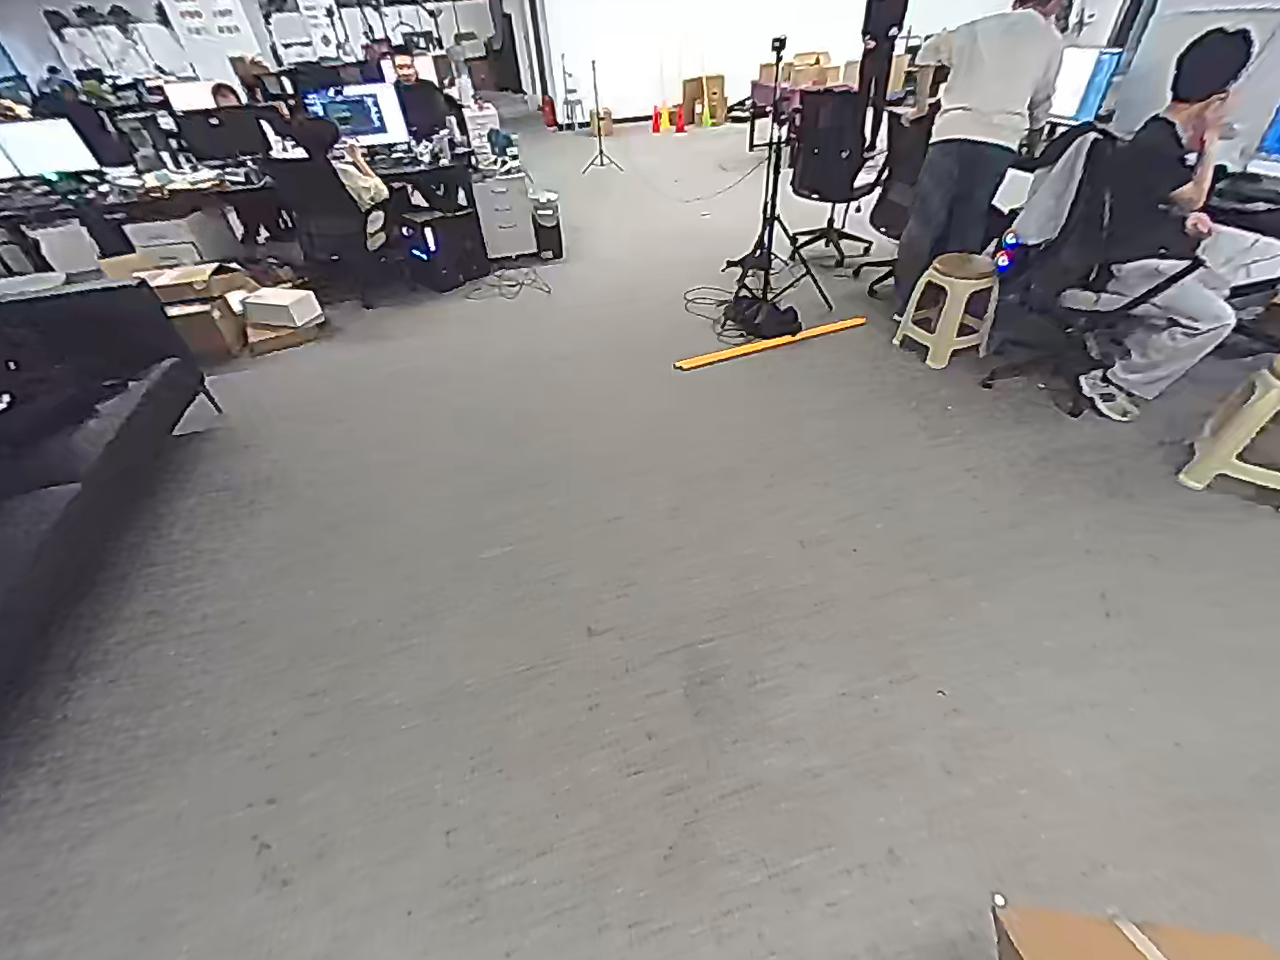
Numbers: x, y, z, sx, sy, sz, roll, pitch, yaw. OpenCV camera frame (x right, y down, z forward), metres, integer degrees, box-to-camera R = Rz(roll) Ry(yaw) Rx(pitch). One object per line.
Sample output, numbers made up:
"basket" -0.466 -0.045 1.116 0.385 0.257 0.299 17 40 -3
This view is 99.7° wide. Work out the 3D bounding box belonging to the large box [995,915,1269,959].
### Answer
"large box" 0.611 0.736 0.530 0.320 0.408 0.320 -2 80 15
